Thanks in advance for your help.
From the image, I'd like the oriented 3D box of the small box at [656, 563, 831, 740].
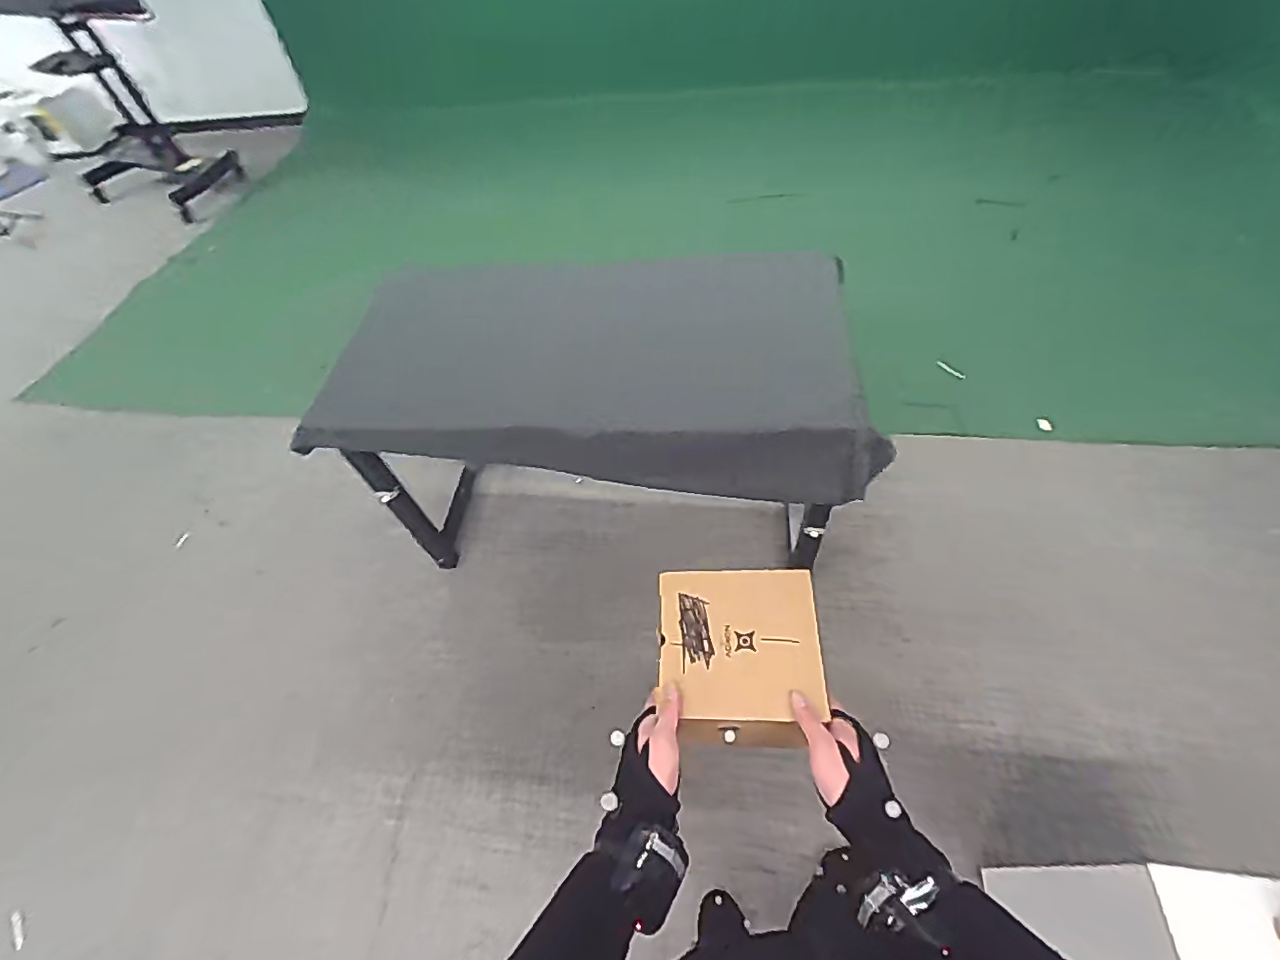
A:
[{"bbox_3d":[0.116,0.209,0.649,0.179,0.176,0.168,-1,57,6],"label":"small box"}]
